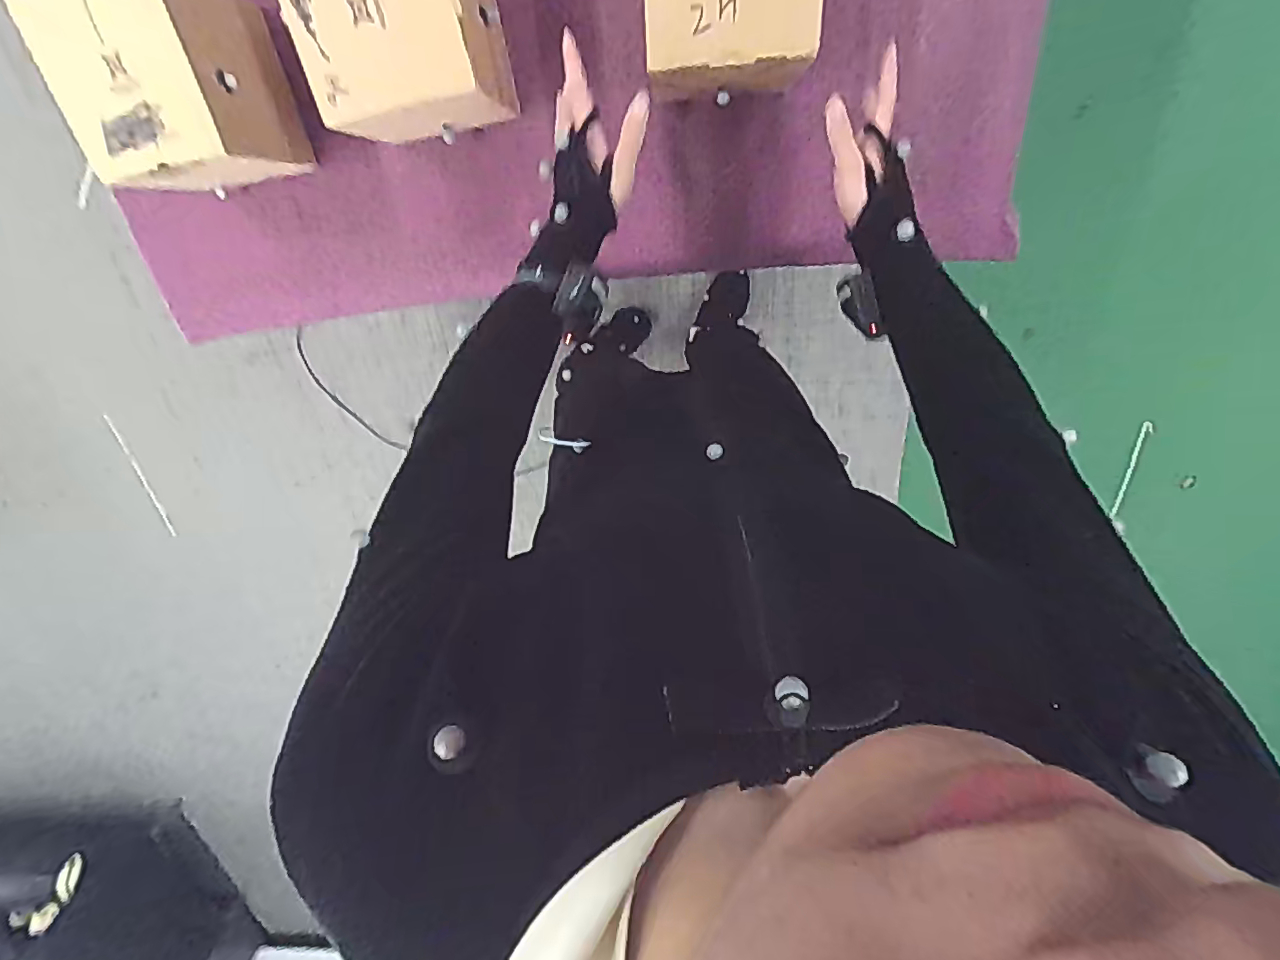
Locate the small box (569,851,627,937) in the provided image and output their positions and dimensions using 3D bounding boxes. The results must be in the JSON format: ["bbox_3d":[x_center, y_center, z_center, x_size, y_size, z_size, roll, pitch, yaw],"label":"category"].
[{"bbox_3d":[-0.137,1.415,1.851,0.168,0.176,0.179,-1,115,6],"label":"small box"}]

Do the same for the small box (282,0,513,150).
[{"bbox_3d":[-0.254,-0.484,0.601,0.179,0.176,0.168,-7,115,8],"label":"small box"}]

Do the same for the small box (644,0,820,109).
[{"bbox_3d":[0.089,-0.509,0.561,0.168,0.176,0.179,-1,116,6],"label":"small box"}]

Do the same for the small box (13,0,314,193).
[{"bbox_3d":[-0.532,-0.448,0.639,0.168,0.176,0.179,-7,114,7],"label":"small box"}]
